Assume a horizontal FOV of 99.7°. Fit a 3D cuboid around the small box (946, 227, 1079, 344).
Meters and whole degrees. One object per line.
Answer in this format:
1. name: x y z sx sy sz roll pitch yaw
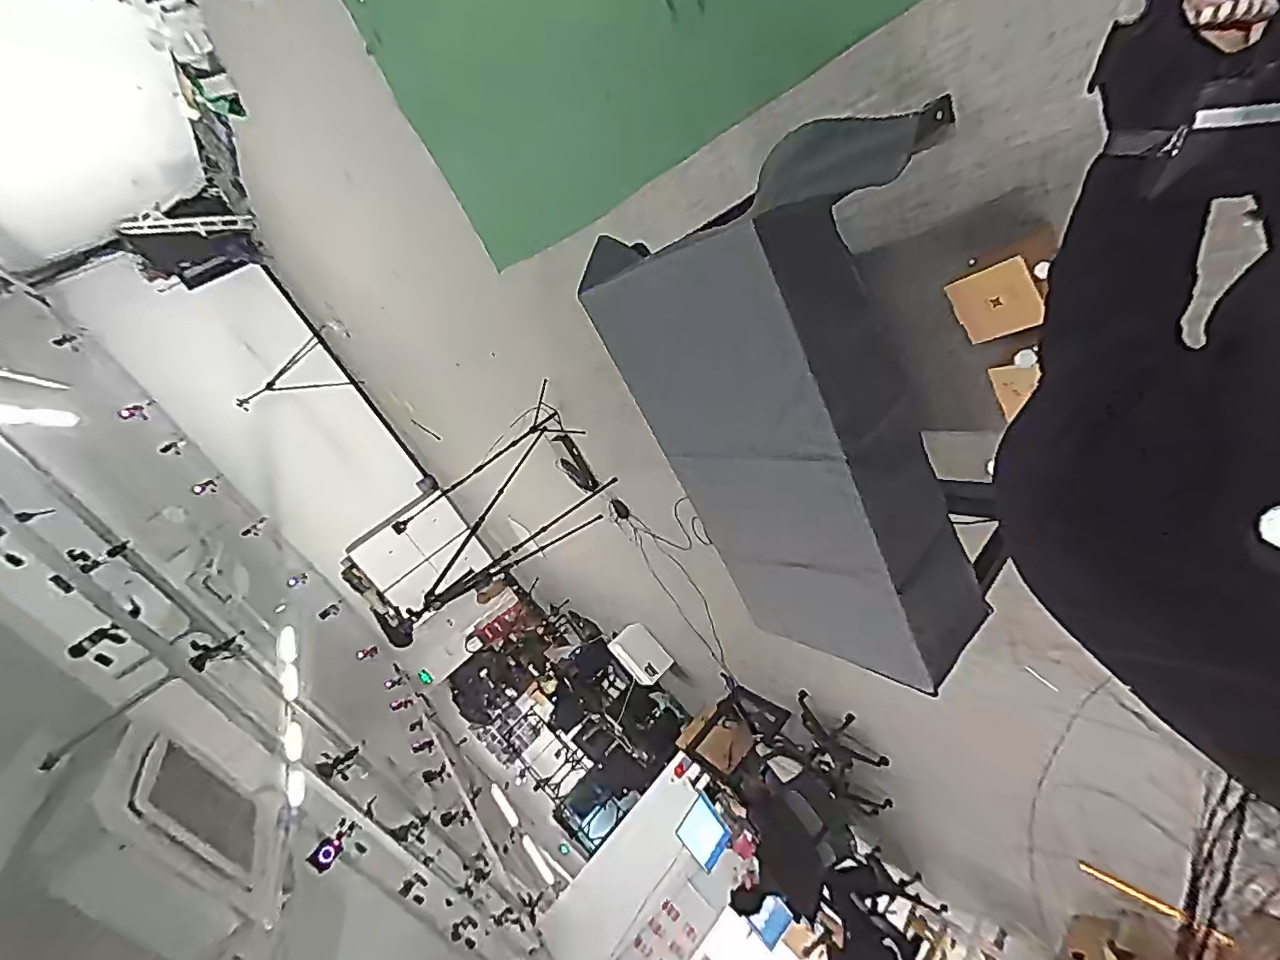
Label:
1. small box: 0.866 -0.449 1.260 0.168 0.176 0.179 54 156 -12
